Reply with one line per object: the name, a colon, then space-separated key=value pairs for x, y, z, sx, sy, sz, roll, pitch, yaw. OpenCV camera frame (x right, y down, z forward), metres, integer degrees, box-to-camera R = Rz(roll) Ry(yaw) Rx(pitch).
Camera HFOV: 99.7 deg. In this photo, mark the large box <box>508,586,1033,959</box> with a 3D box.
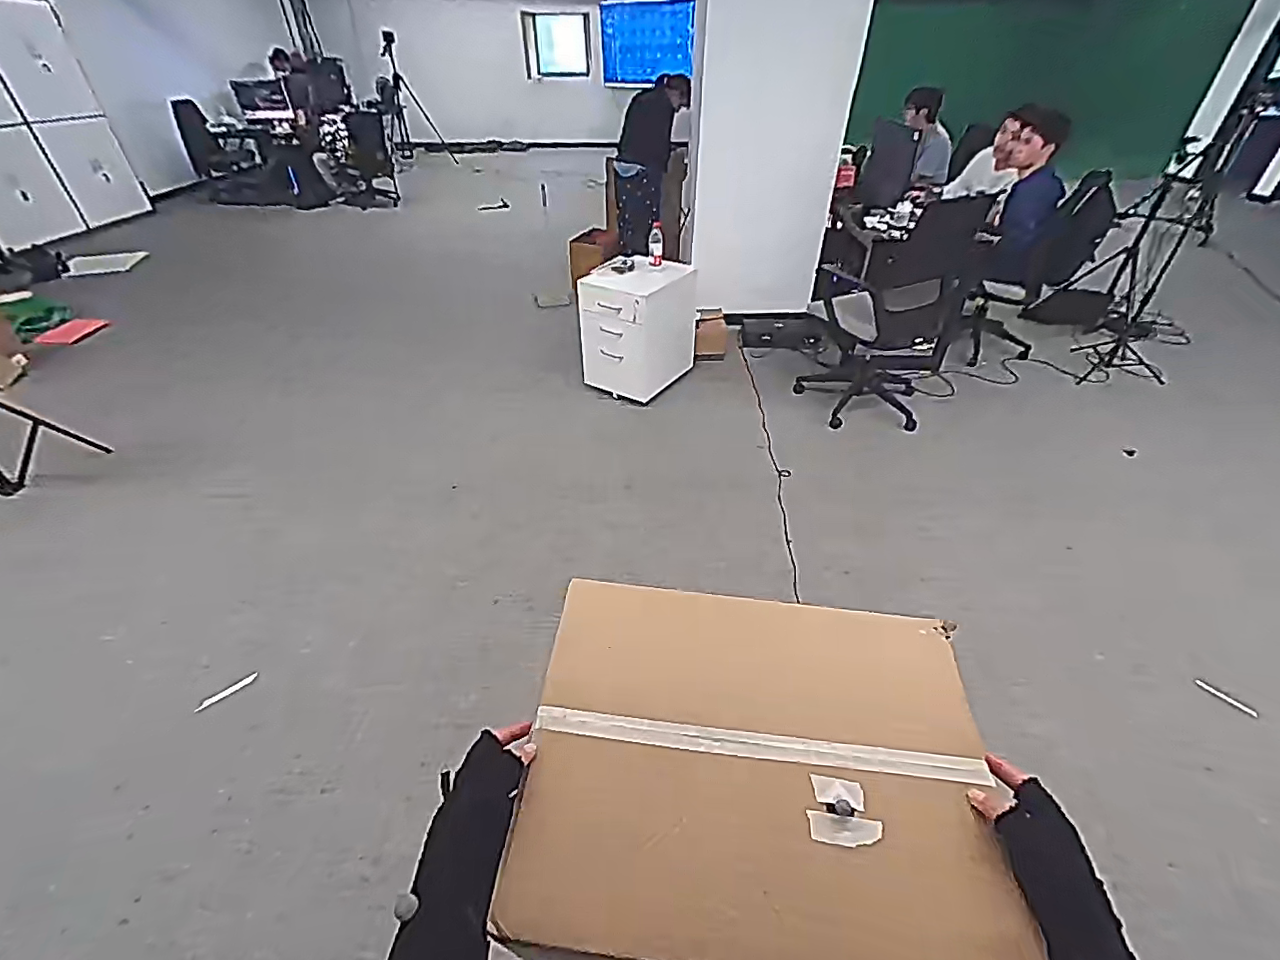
large box: x=0.104 y=0.351 z=0.612 sx=0.408 sy=0.320 sz=0.320 roll=6 pitch=45 yaw=4
